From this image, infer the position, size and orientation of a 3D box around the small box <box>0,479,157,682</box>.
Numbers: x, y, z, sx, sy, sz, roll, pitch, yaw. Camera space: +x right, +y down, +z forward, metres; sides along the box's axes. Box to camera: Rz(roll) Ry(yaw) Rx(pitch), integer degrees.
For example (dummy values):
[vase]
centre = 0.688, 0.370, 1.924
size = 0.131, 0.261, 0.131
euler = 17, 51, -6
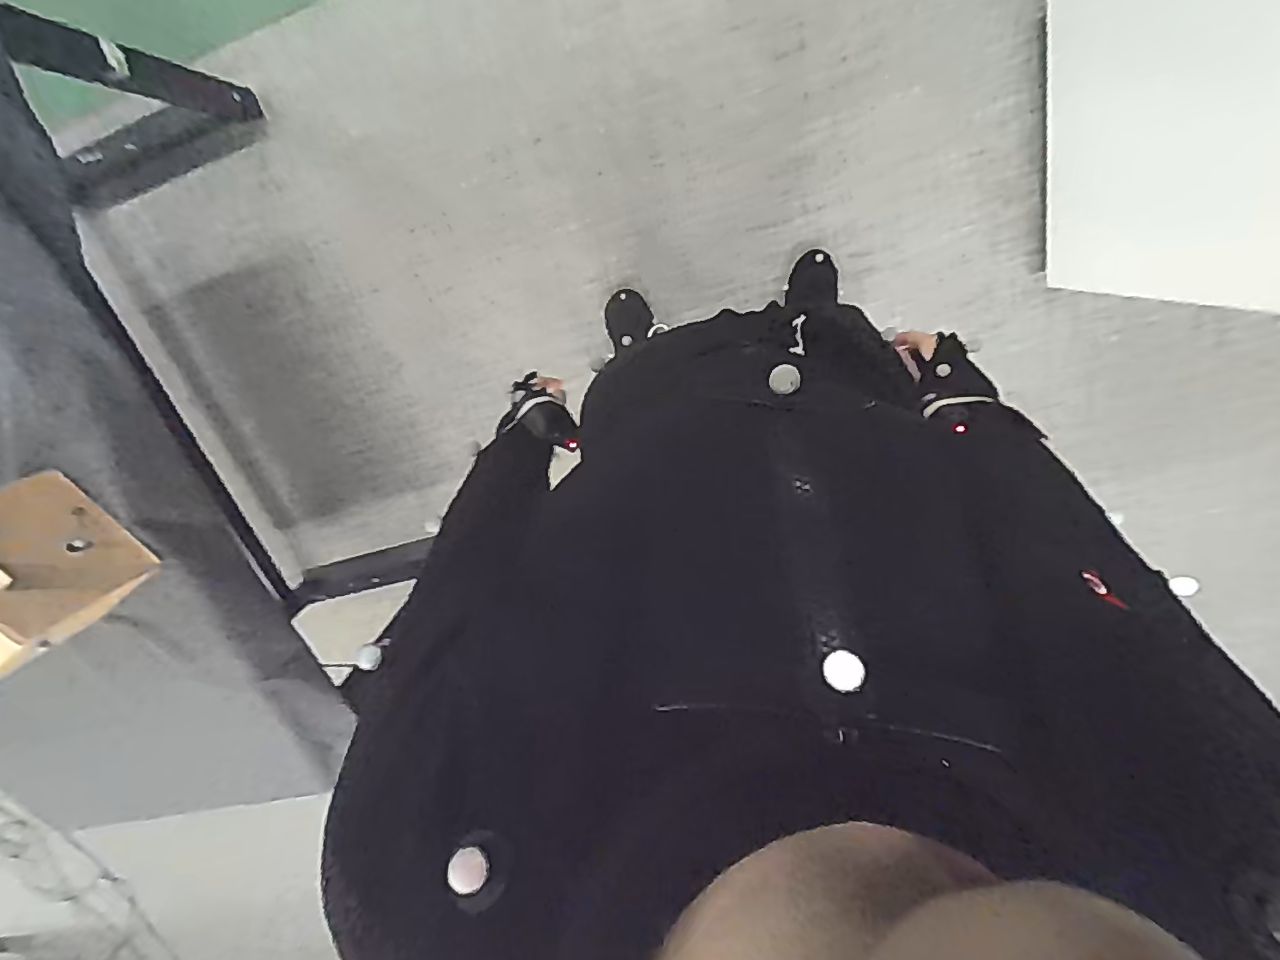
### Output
[small box]
centre = -0.766, 0.130, 0.667
size = 0.179, 0.176, 0.168
euler = -32, 106, 19
